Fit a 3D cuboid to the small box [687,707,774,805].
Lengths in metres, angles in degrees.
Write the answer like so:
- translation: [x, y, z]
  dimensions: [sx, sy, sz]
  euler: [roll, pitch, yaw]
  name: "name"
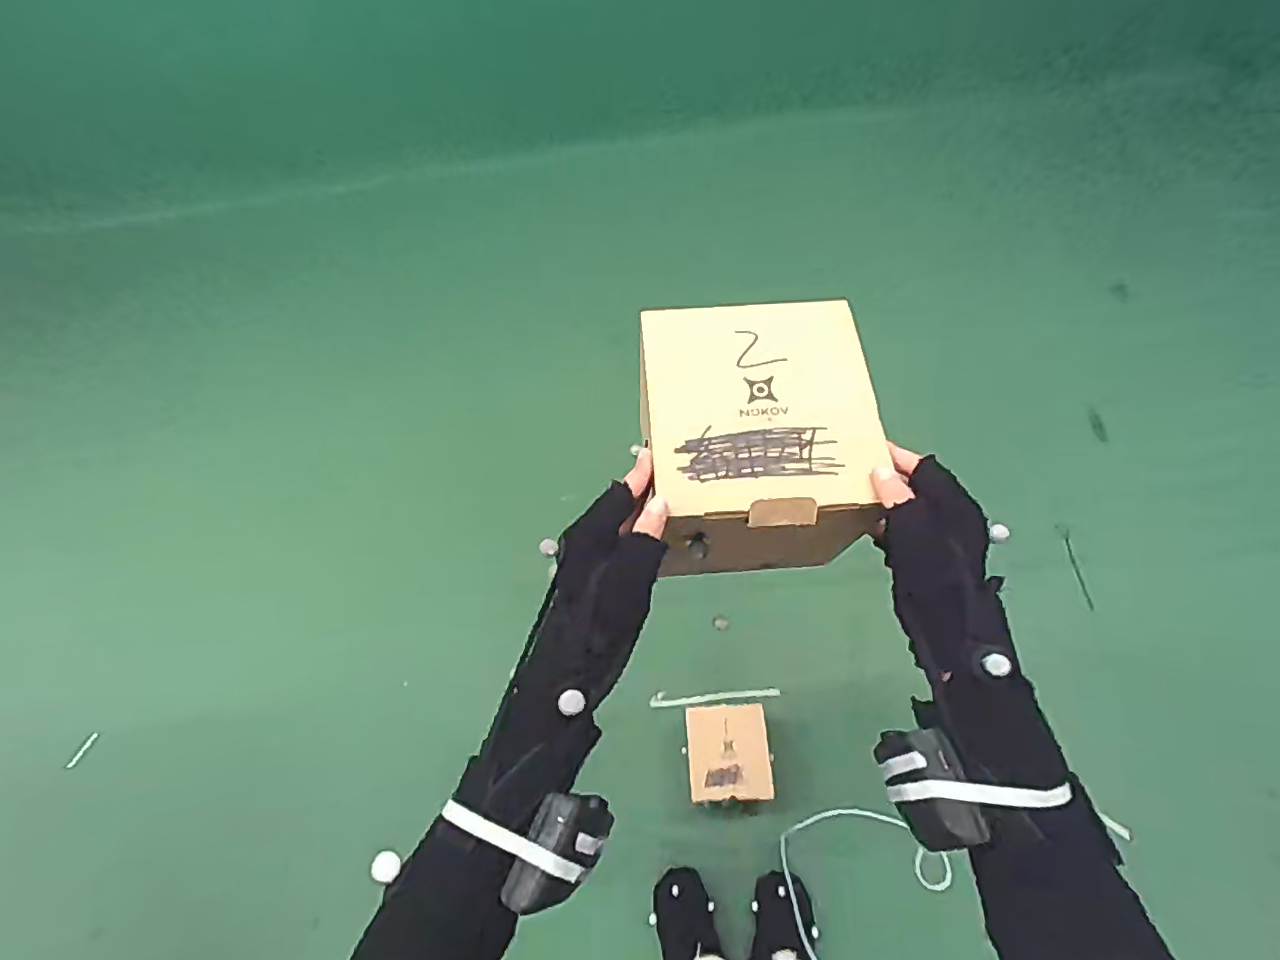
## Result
- translation: [0.191, 0.602, 1.178]
  dimensions: [0.168, 0.176, 0.179]
  euler: [-4, 59, 3]
  name: "small box"
